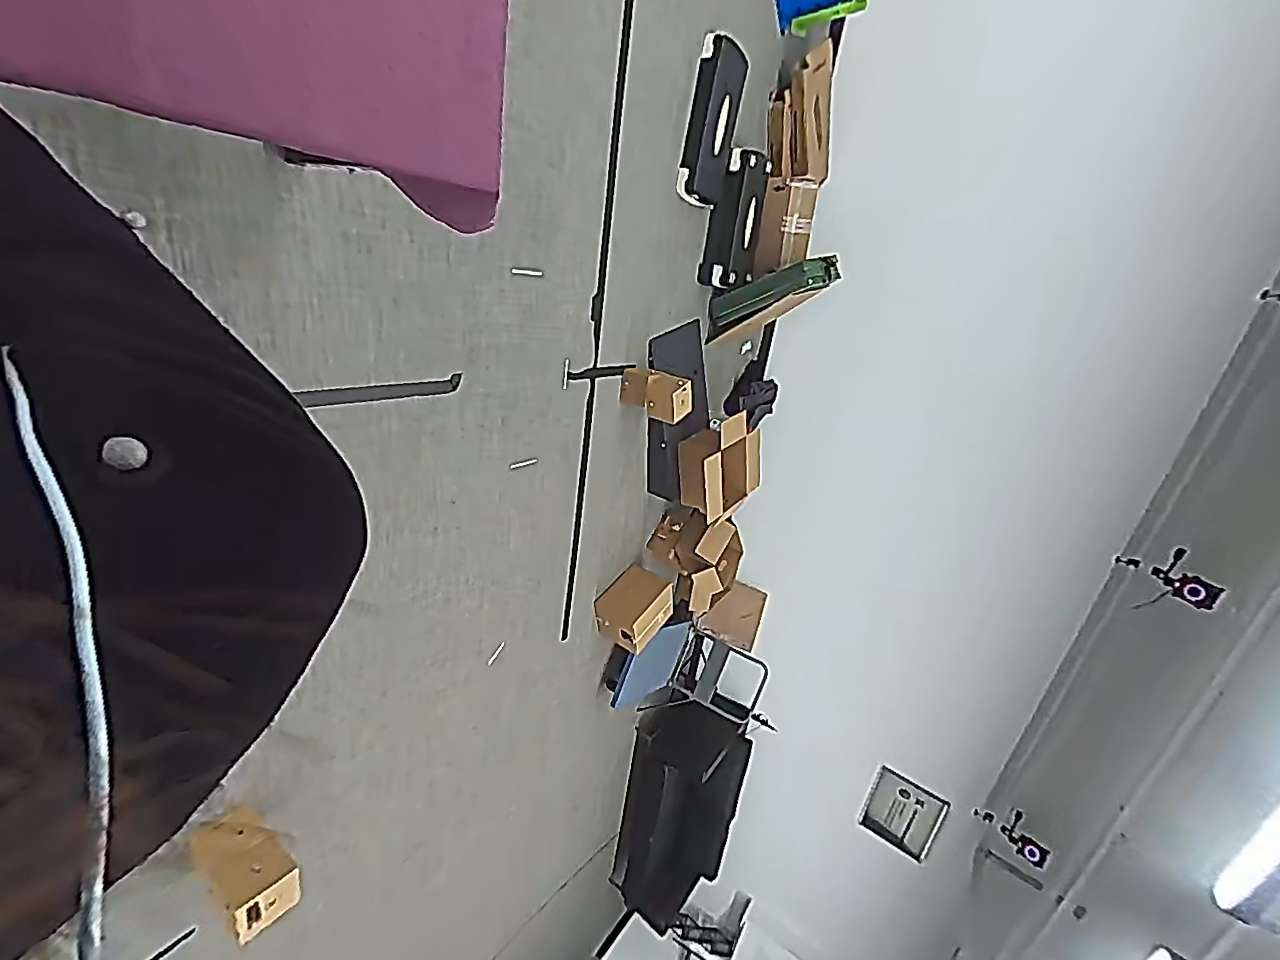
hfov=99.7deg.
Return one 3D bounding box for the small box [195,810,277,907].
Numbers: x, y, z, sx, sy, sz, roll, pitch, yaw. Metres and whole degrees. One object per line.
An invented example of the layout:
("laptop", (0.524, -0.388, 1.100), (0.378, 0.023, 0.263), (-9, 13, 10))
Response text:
("small box", (-1.336, 1.237, 1.786), (0.168, 0.176, 0.179), (-21, 127, -53))
